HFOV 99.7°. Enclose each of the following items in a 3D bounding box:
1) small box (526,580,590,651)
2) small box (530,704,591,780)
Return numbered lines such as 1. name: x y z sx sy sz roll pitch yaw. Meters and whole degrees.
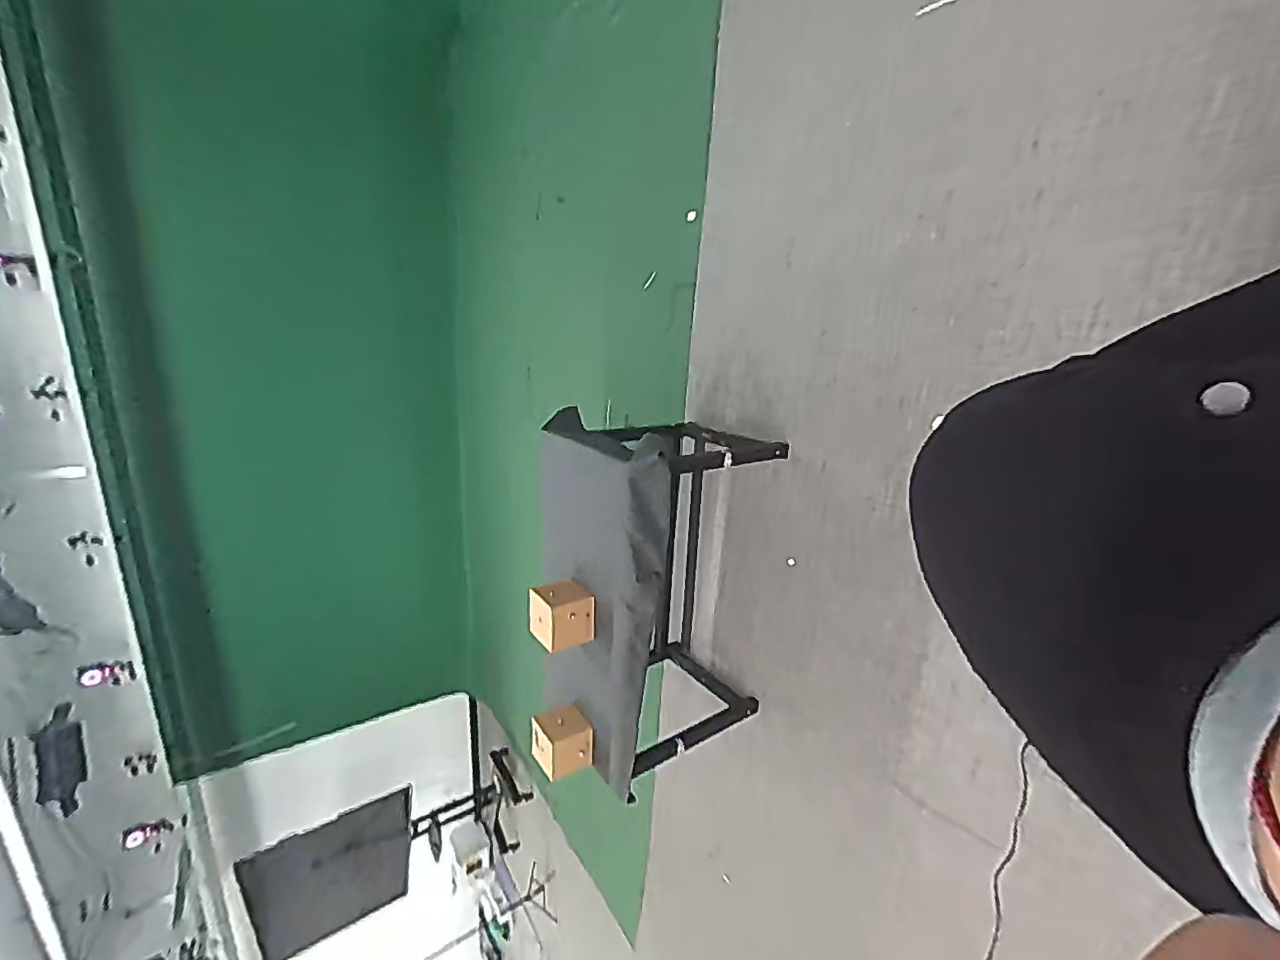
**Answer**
1. small box: -0.285 0.466 1.893 0.179 0.176 0.168 21 113 53
2. small box: -0.301 0.967 2.021 0.179 0.176 0.168 22 115 52
